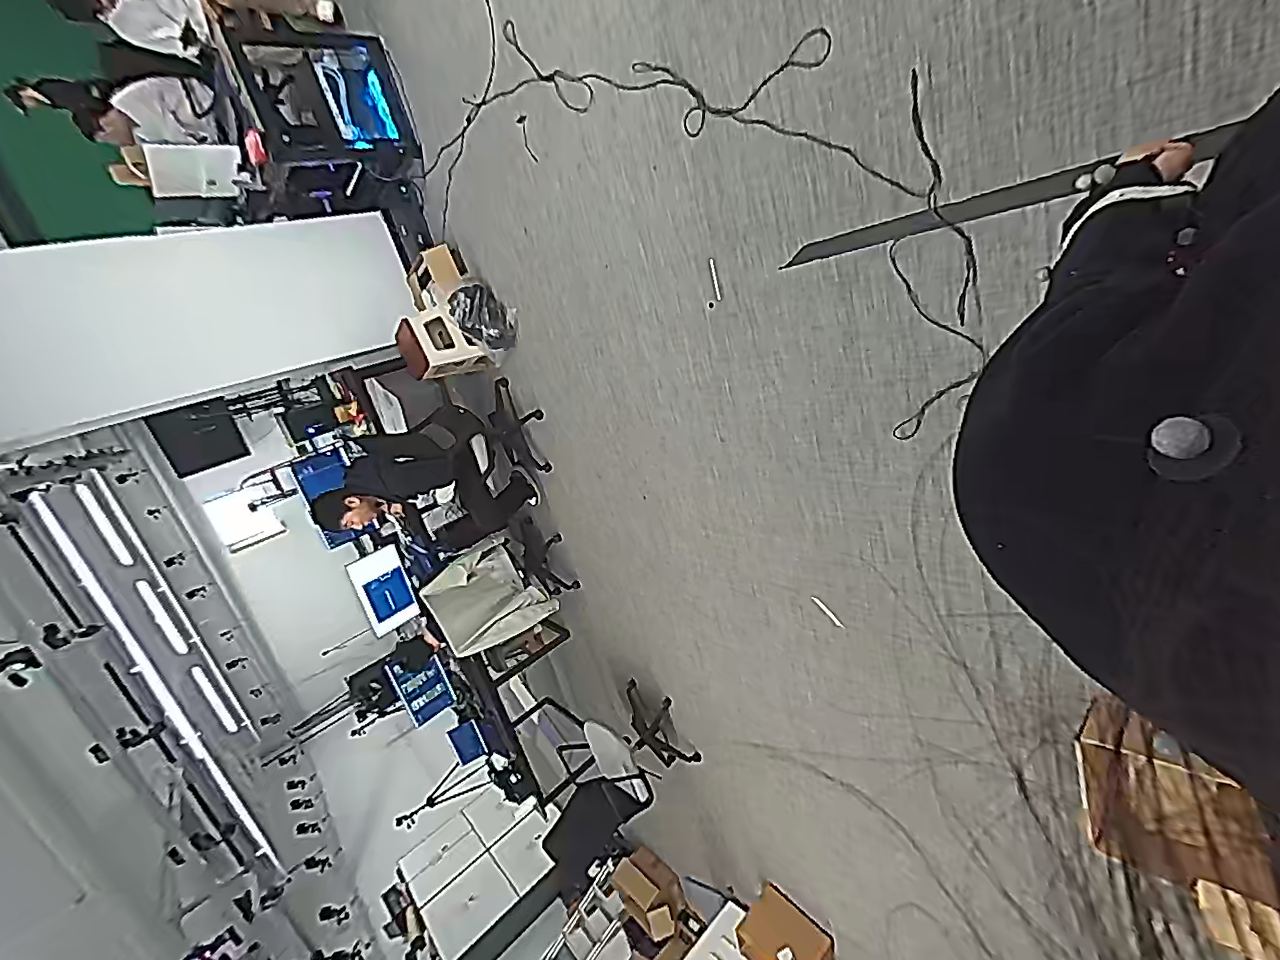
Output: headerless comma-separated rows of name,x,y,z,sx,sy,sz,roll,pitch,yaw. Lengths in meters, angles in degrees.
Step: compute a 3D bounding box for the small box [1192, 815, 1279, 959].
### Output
small box,1.283,0.856,1.127,0.168,0.176,0.179,0,114,52
